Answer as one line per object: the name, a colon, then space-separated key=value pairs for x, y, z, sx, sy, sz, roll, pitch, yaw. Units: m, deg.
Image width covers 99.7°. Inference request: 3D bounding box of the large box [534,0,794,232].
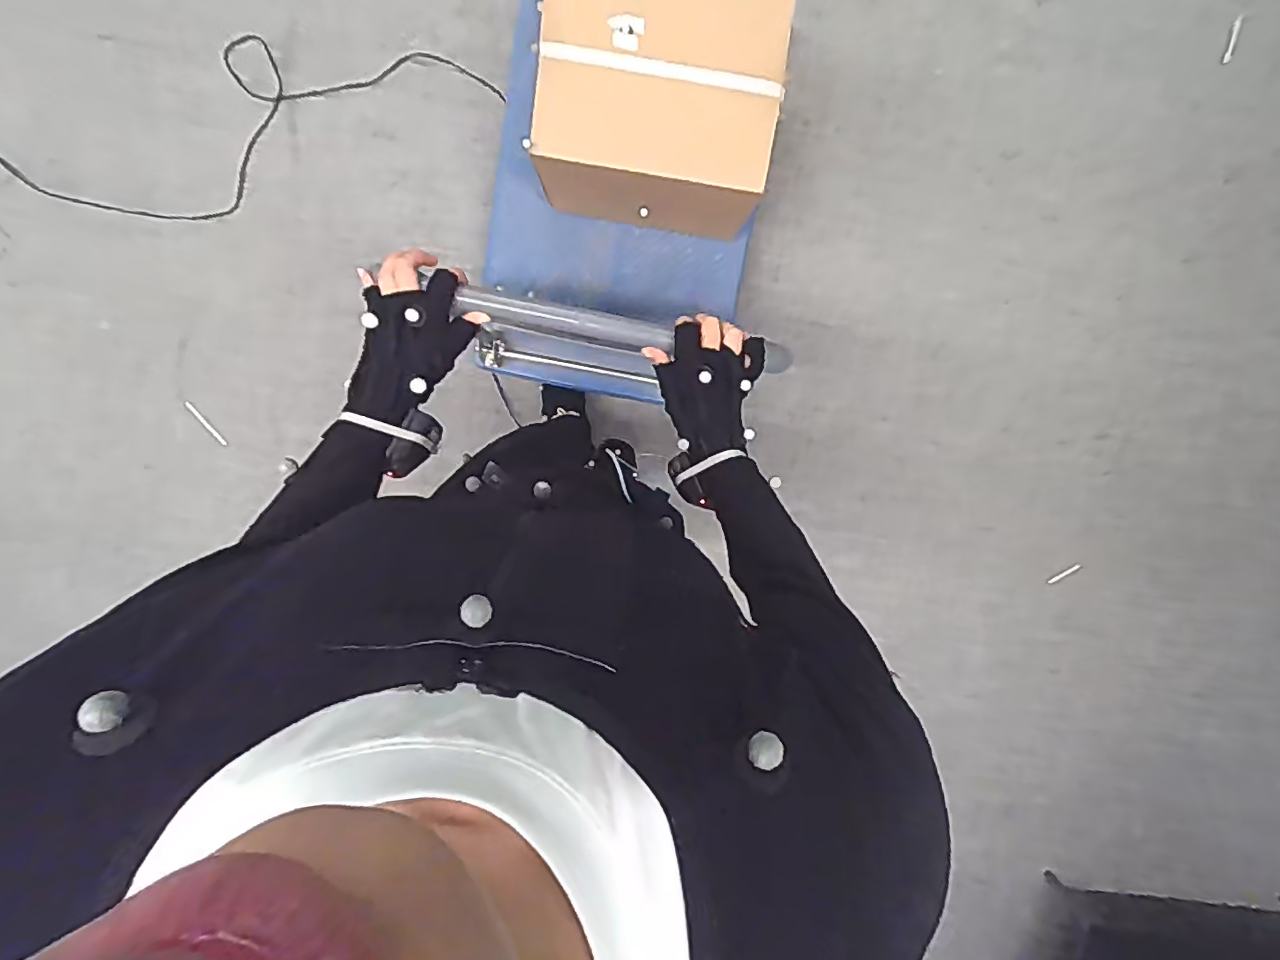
large box: x=0.035 y=-0.701 z=1.038 sx=0.408 sy=0.320 sz=0.320 roll=8 pitch=99 yaw=-3
